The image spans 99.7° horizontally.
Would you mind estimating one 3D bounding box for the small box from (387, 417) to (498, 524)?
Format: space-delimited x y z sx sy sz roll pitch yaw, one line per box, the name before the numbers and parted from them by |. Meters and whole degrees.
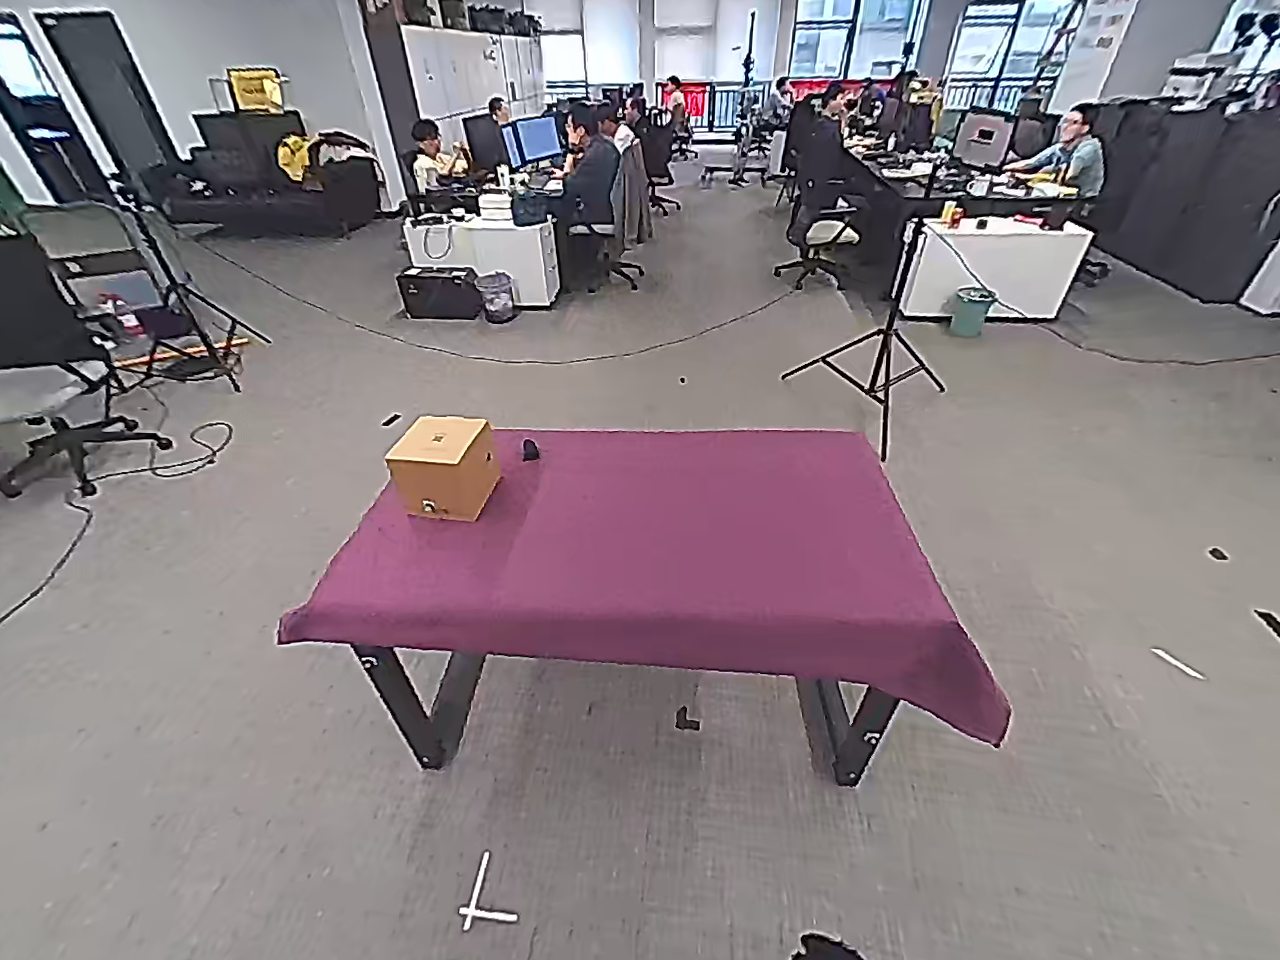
small box | -0.435 -0.025 1.229 0.168 0.176 0.179 4 39 8
